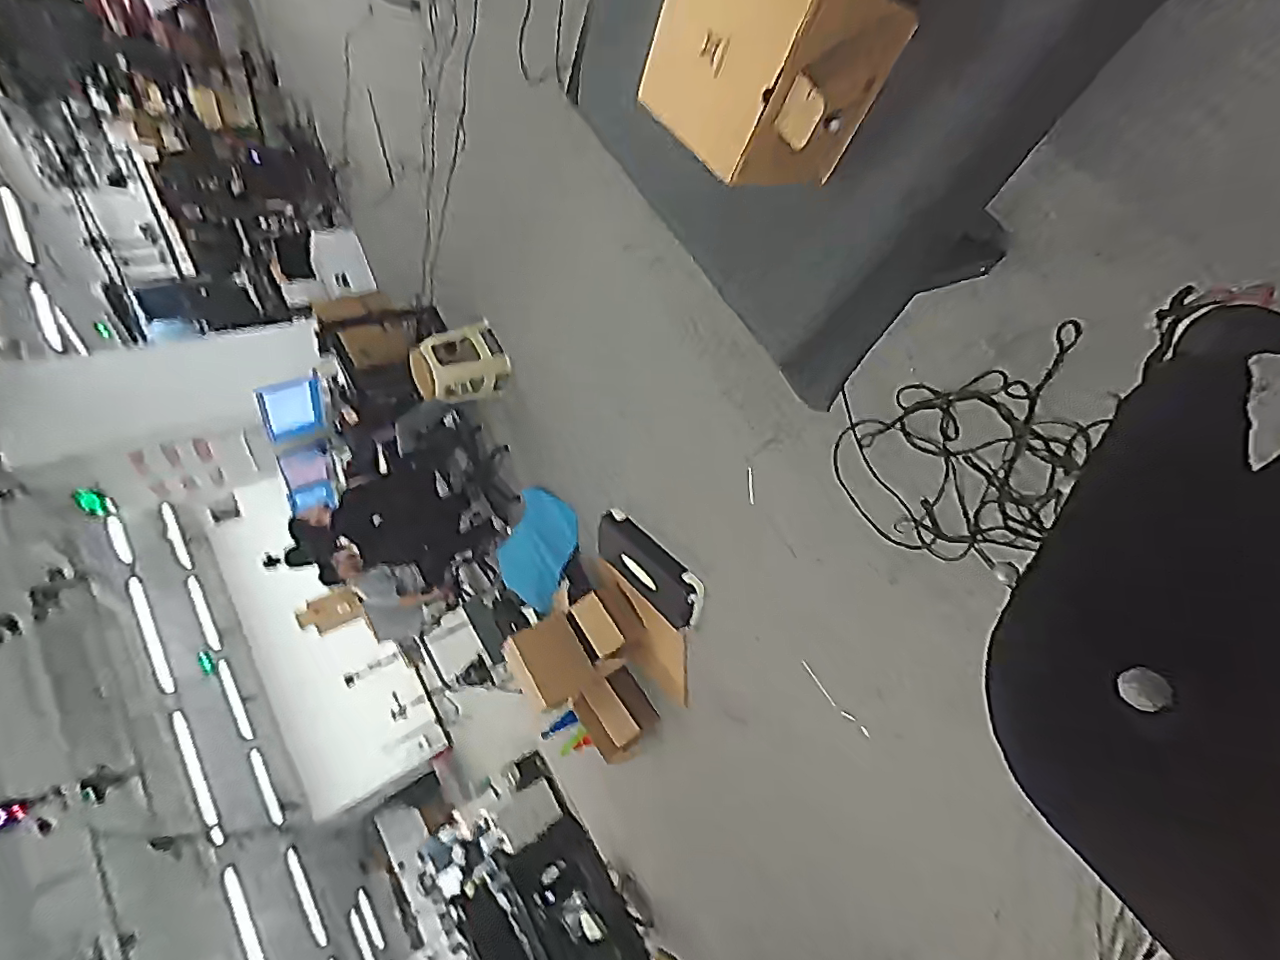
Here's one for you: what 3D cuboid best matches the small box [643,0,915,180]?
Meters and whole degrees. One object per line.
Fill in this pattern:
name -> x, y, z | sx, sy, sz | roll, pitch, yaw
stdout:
small box -> 0.138, -0.438, 0.565 | 0.179, 0.176, 0.168 | 53, 144, 20
